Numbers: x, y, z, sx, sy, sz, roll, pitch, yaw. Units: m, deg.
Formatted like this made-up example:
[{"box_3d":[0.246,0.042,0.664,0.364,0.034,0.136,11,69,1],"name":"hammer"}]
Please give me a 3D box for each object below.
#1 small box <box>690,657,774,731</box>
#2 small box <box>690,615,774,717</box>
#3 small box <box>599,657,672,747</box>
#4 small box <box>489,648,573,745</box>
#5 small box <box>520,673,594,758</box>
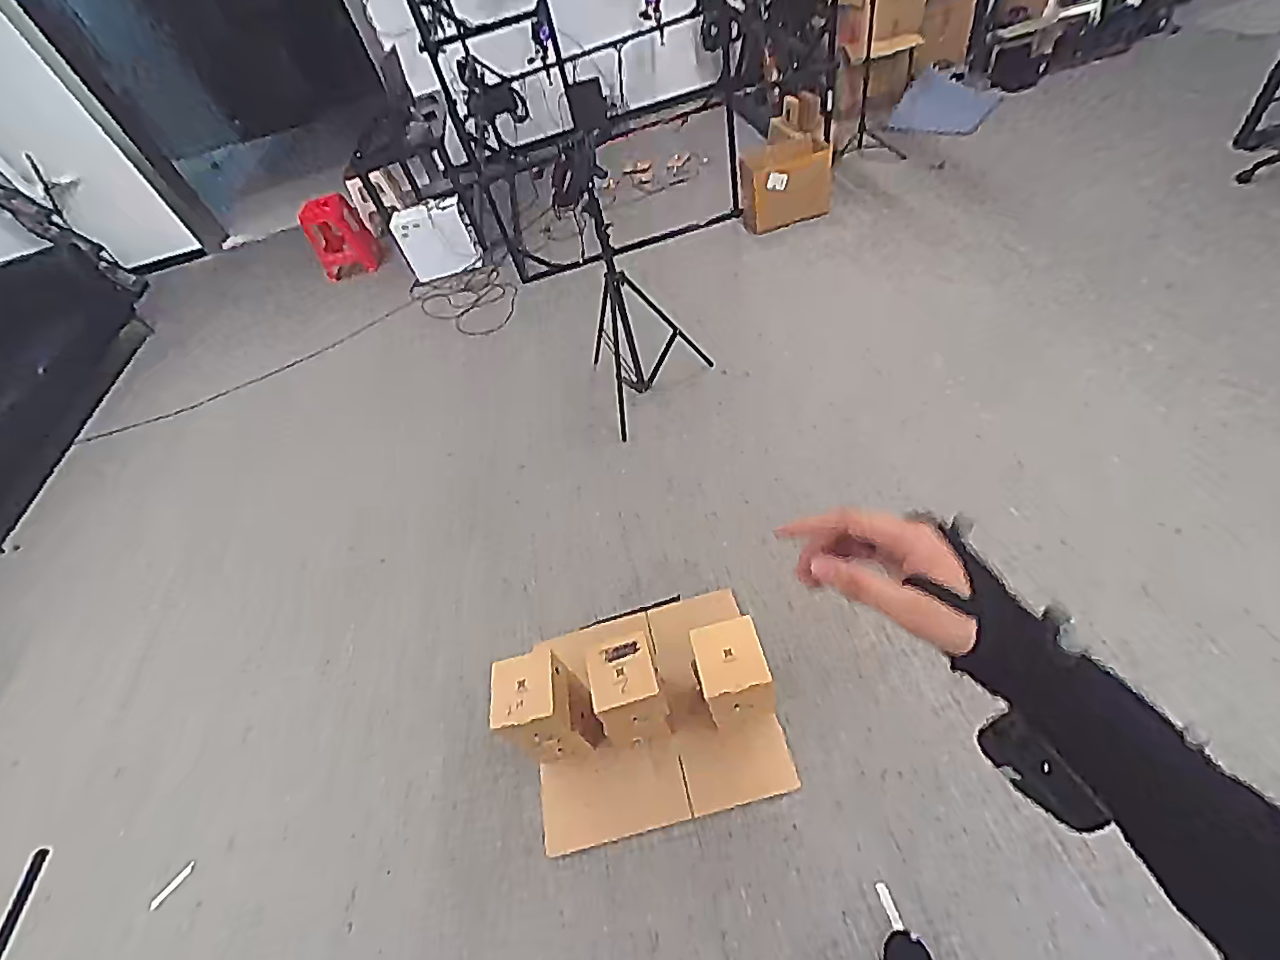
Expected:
[{"box_3d":[0.259,0.568,1.502,0.179,0.176,0.168,-23,49,-5],"name":"small box"},{"box_3d":[0.232,0.473,1.372,0.168,0.176,0.179,-16,49,2],"name":"small box"},{"box_3d":[-0.013,0.629,1.526,0.168,0.176,0.179,-14,49,3],"name":"small box"},{"box_3d":[-0.283,0.574,1.427,0.168,0.176,0.179,-15,49,4],"name":"small box"},{"box_3d":[-0.236,0.680,1.546,0.168,0.176,0.179,-15,49,3],"name":"small box"}]
